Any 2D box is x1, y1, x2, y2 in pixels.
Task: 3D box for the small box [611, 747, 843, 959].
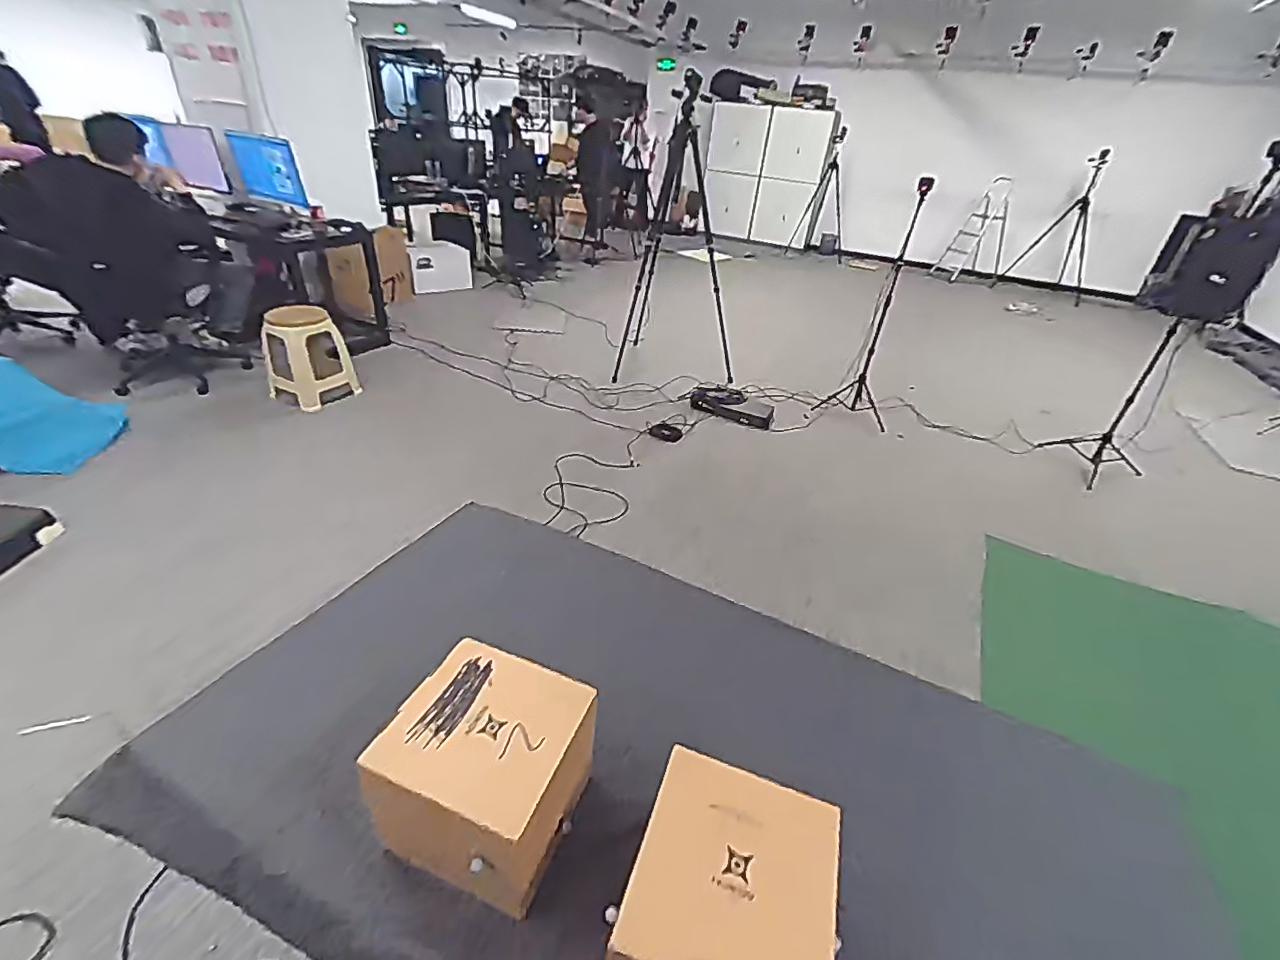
[{"bbox_3d":[0.077,0.397,0.497,0.168,0.176,0.179,16,32,13],"label":"small box"}]
